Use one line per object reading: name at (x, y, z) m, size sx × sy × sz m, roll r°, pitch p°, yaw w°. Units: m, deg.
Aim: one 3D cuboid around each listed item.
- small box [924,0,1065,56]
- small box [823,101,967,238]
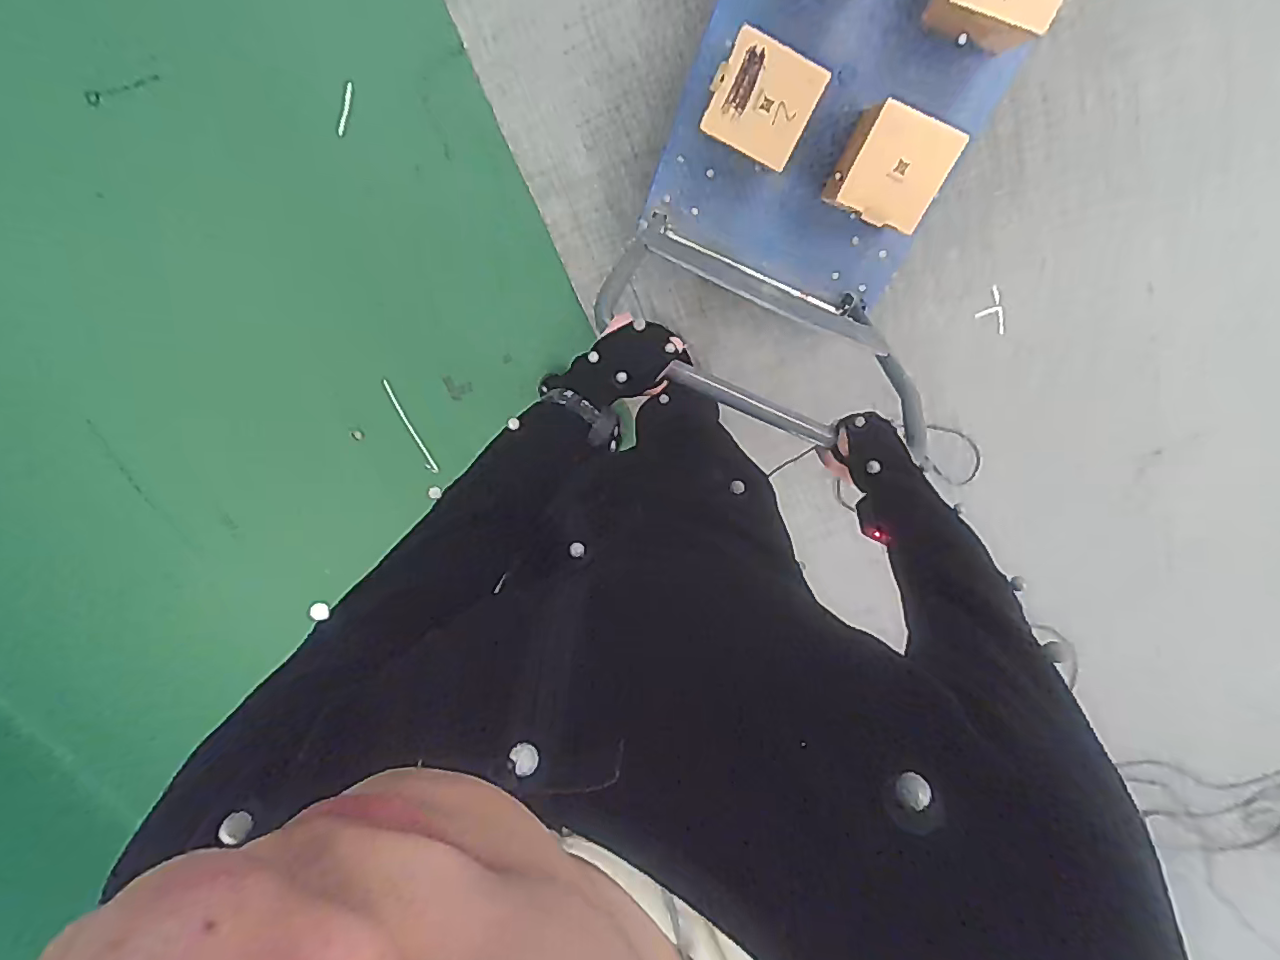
small box at (0.605, -0.841, 0.890) m, size 0.168 × 0.176 × 0.179 m, roll 19°, pitch 122°, yaw -3°
small box at (0.479, -0.600, 1.052) m, size 0.168 × 0.176 × 0.179 m, roll 22°, pitch 121°, yaw -5°
